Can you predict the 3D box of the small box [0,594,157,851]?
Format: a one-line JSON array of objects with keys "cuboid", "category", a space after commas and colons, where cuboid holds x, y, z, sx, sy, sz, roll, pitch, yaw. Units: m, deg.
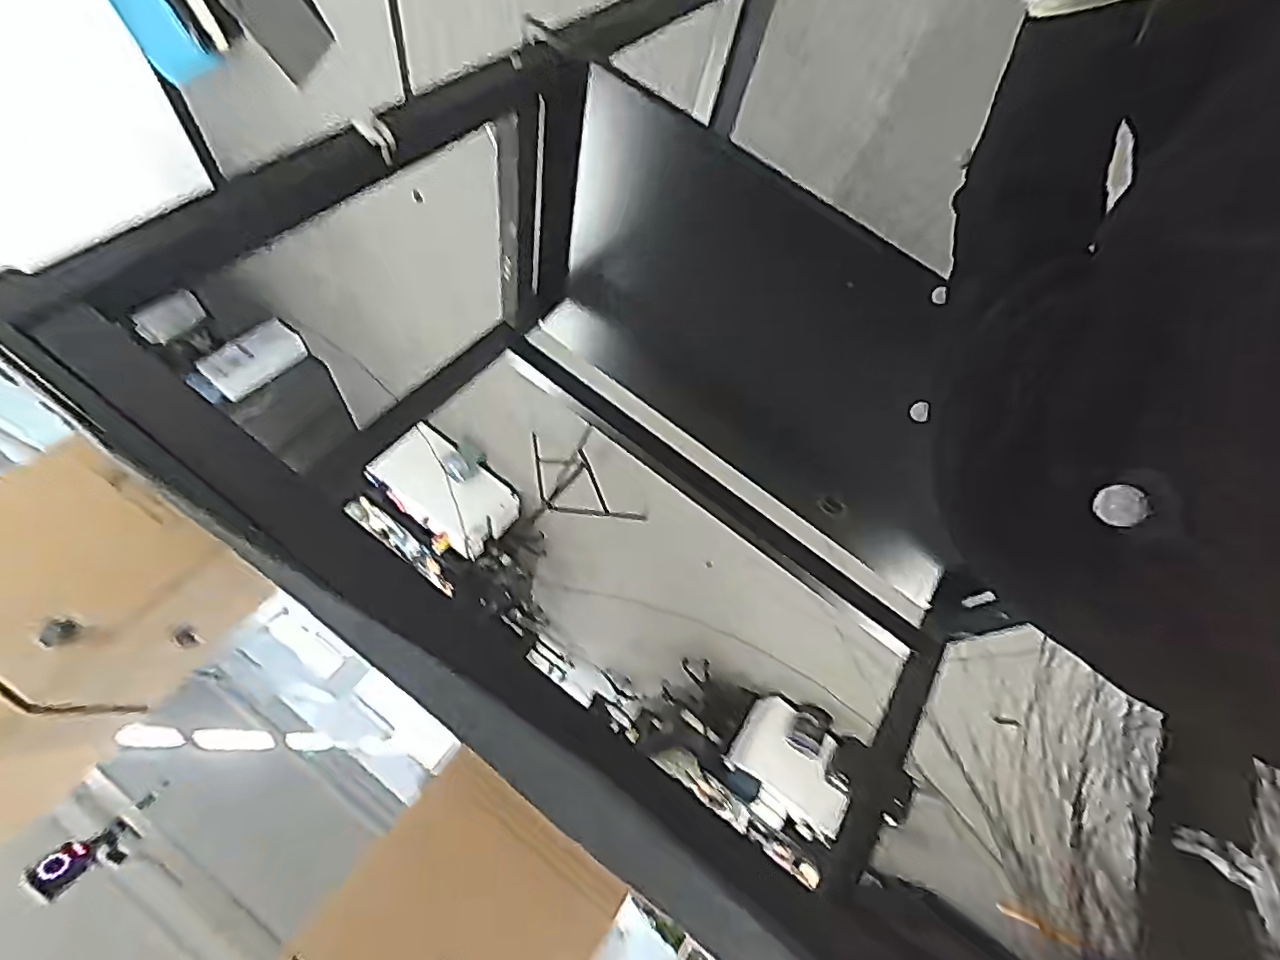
[{"cuboid": [-0.564, 0.200, 0.438, 0.168, 0.176, 0.179, 37, 153, 2], "category": "small box"}]
